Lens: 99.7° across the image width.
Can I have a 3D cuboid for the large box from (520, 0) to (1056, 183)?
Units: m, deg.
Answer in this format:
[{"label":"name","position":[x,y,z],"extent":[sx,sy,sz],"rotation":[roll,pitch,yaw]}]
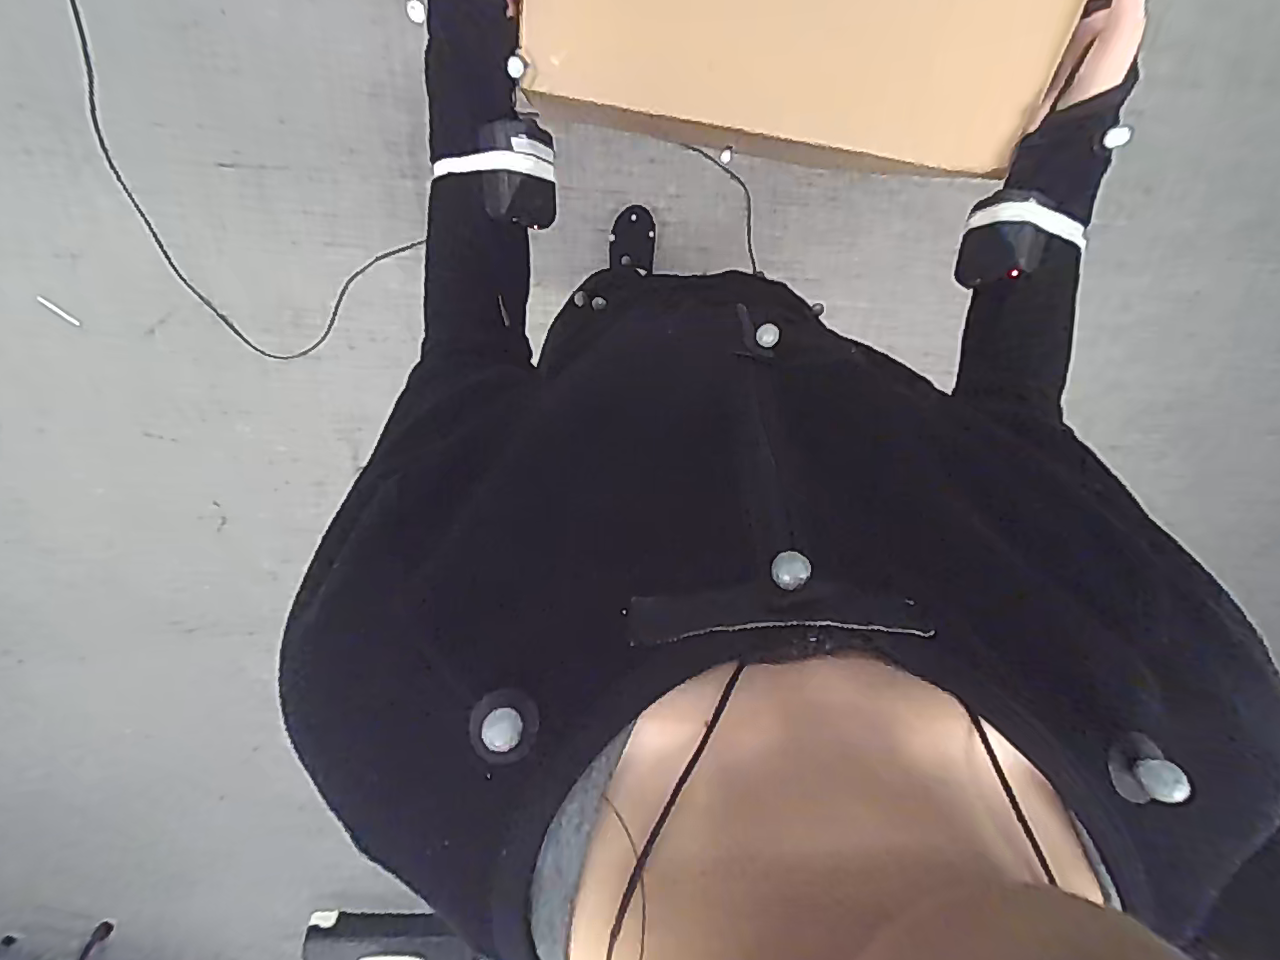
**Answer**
[{"label":"large box","position":[0.112,-0.476,0.492],"extent":[0.408,0.320,0.320],"rotation":[4,119,-9]}]
